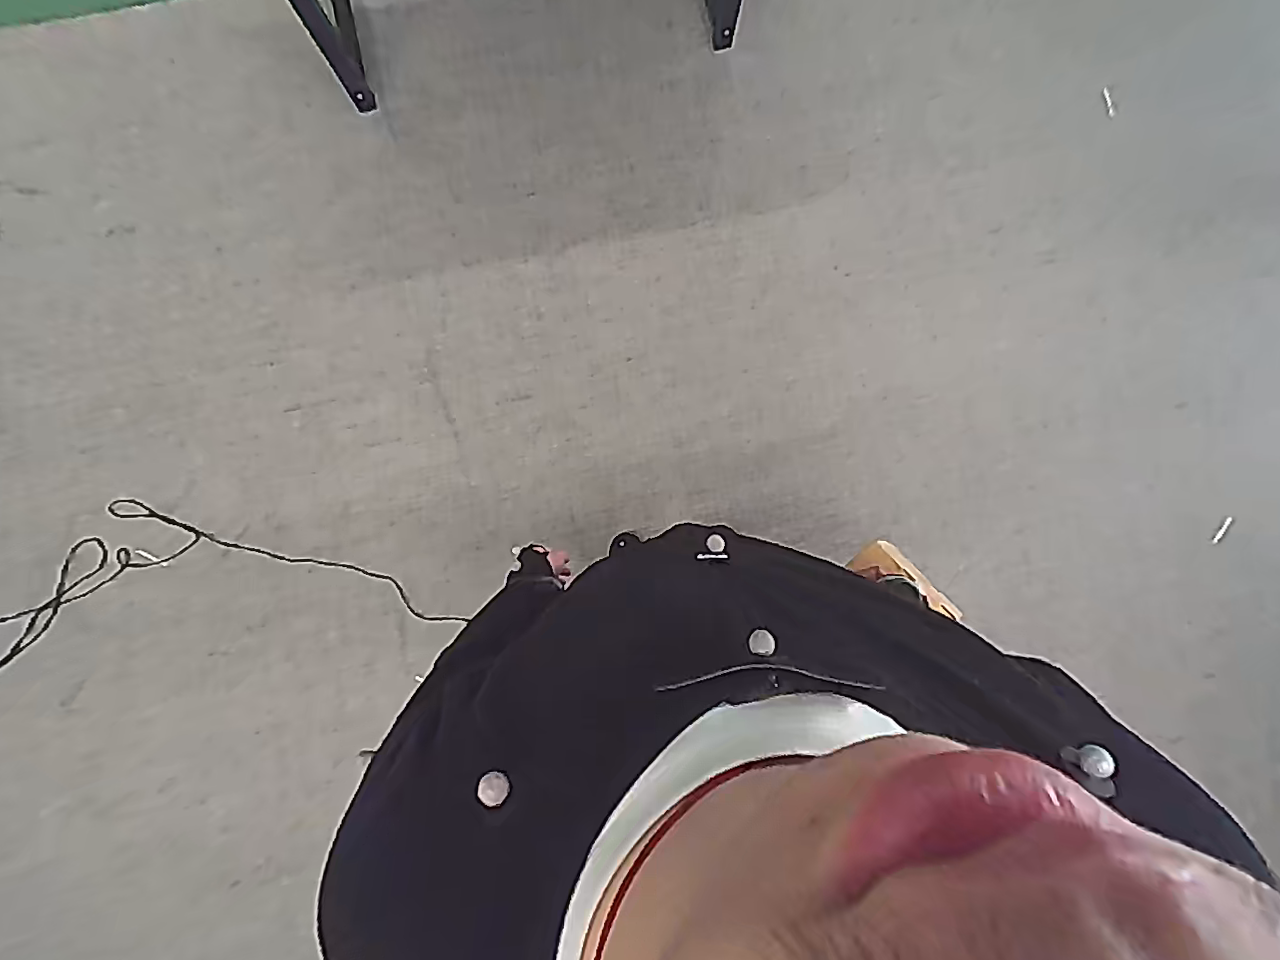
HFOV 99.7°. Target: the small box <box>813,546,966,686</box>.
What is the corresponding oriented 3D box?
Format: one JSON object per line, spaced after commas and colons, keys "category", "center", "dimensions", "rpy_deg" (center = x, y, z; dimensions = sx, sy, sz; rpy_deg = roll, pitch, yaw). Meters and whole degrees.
{"category": "small box", "center": [0.428, 0.231, 0.937], "dimensions": [0.176, 0.179, 0.168], "rpy_deg": [-50, 61, 16]}
